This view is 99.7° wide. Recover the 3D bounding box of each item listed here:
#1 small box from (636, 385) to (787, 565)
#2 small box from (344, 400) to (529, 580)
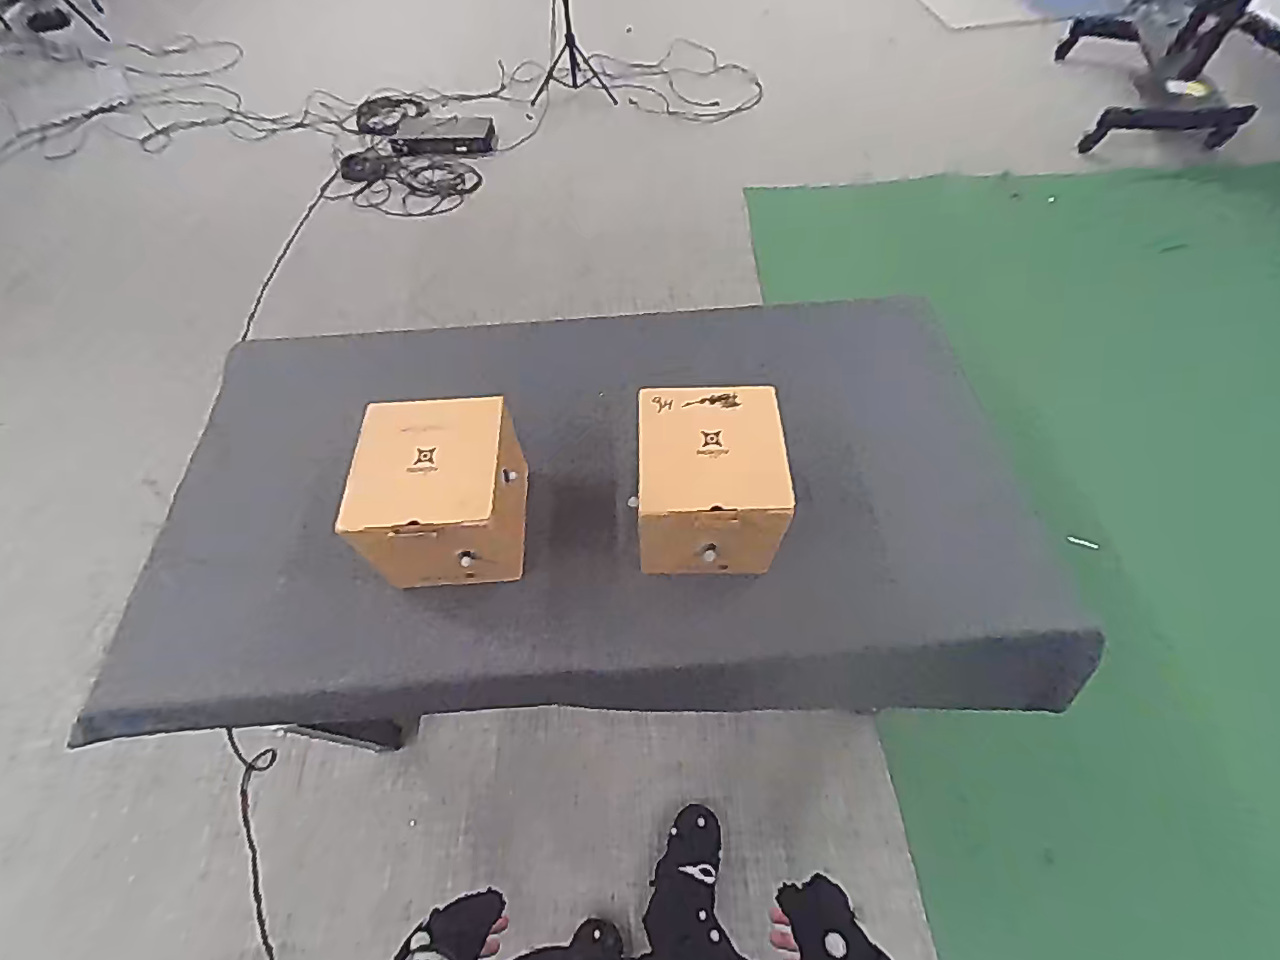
[{"bbox_3d":[0.082,0.002,0.688,0.168,0.176,0.179,-1,59,2],"label":"small box"},{"bbox_3d":[-0.242,0.021,0.694,0.168,0.176,0.179,-4,58,-1],"label":"small box"}]
